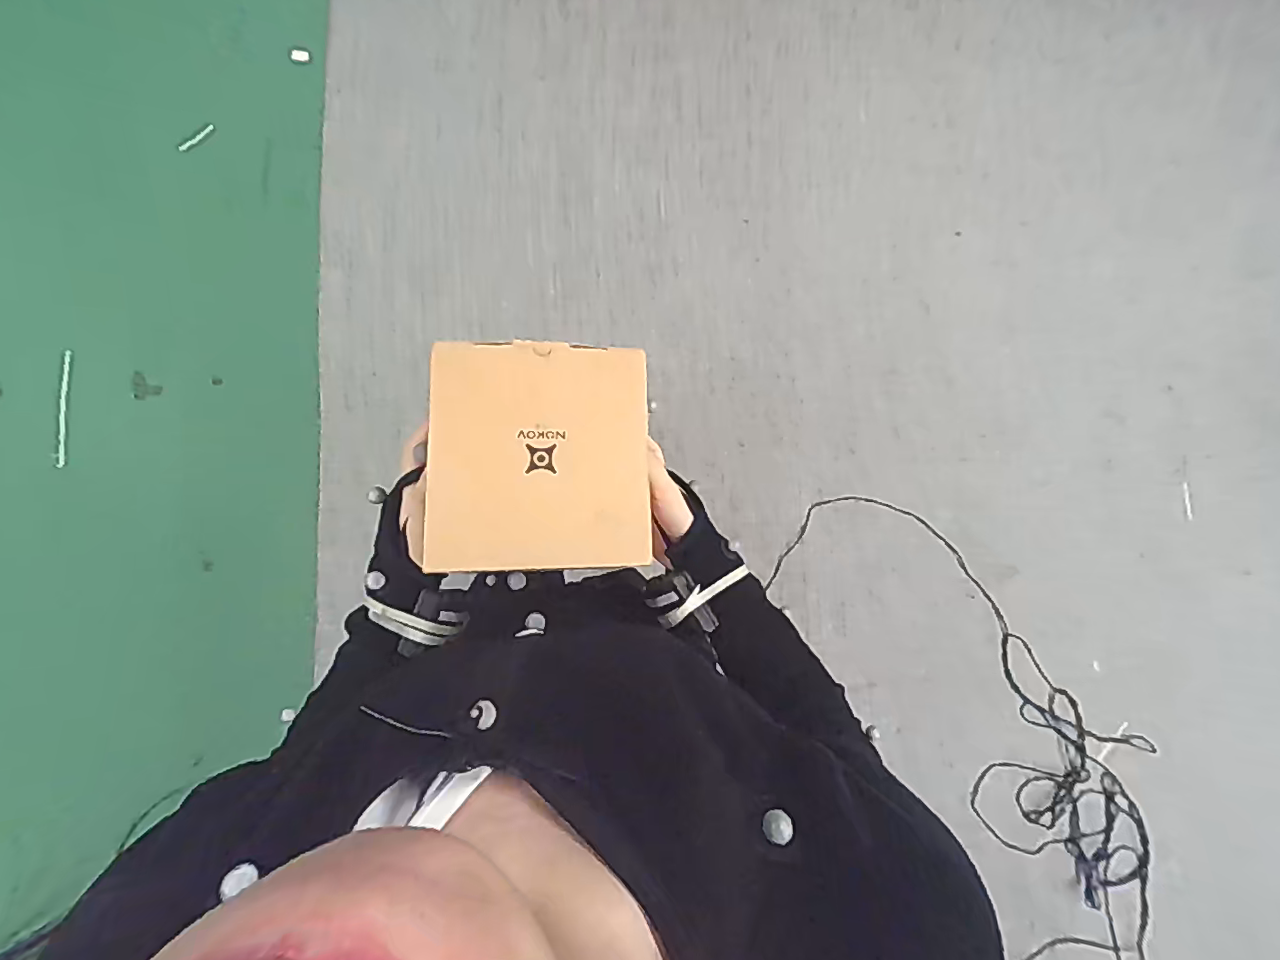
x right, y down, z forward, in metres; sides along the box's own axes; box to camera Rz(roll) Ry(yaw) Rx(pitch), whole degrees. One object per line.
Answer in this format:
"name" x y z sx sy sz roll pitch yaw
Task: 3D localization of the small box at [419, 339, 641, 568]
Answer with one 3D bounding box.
"small box" -0.091 -0.009 0.491 0.168 0.176 0.179 0 79 -9
